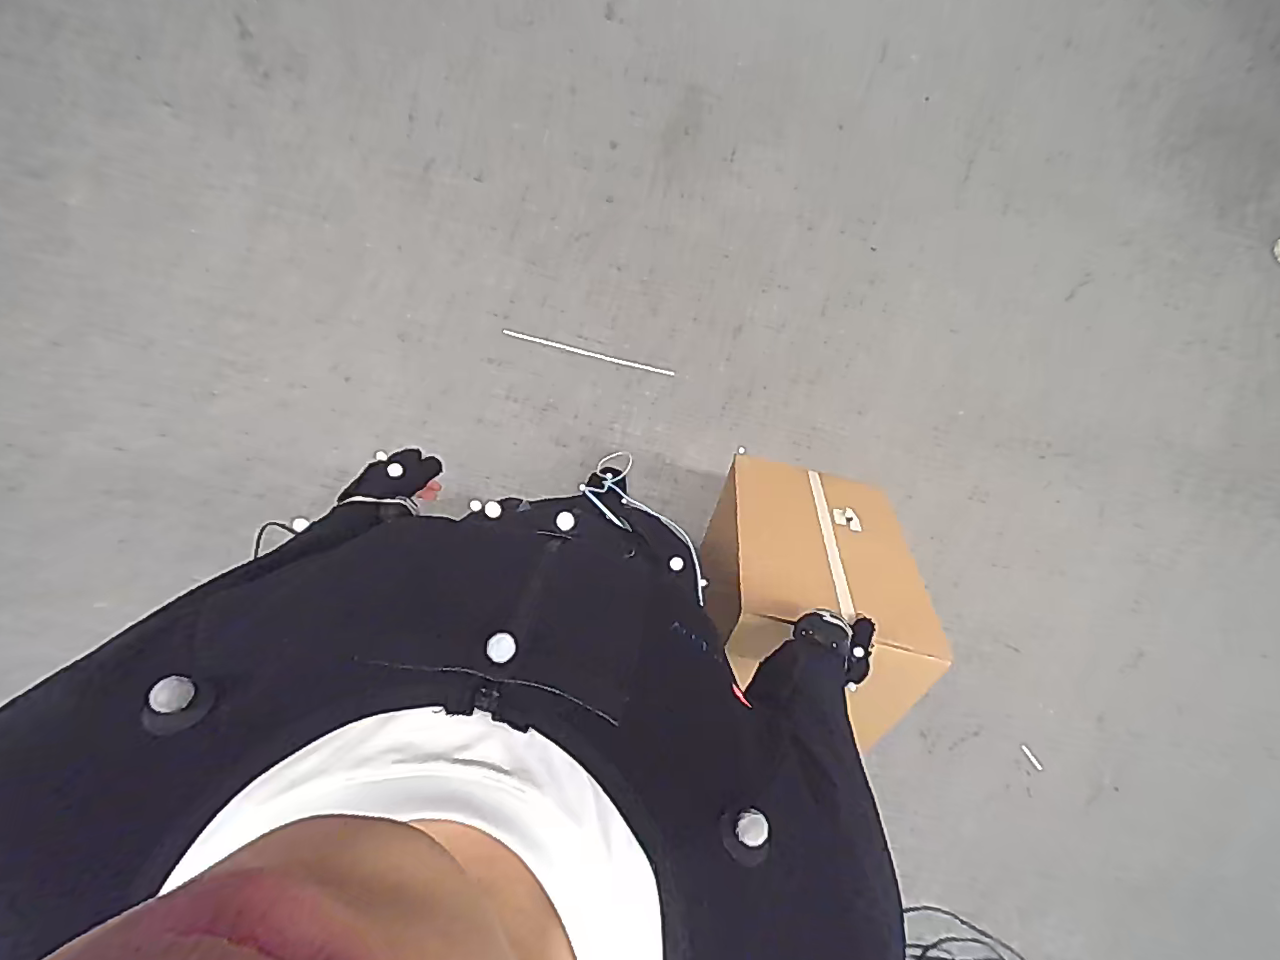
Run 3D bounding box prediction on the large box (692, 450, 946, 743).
[{"bbox_3d":[0.286,0.208,1.017,0.320,0.408,0.320,15,127,-3],"label":"large box"}]
